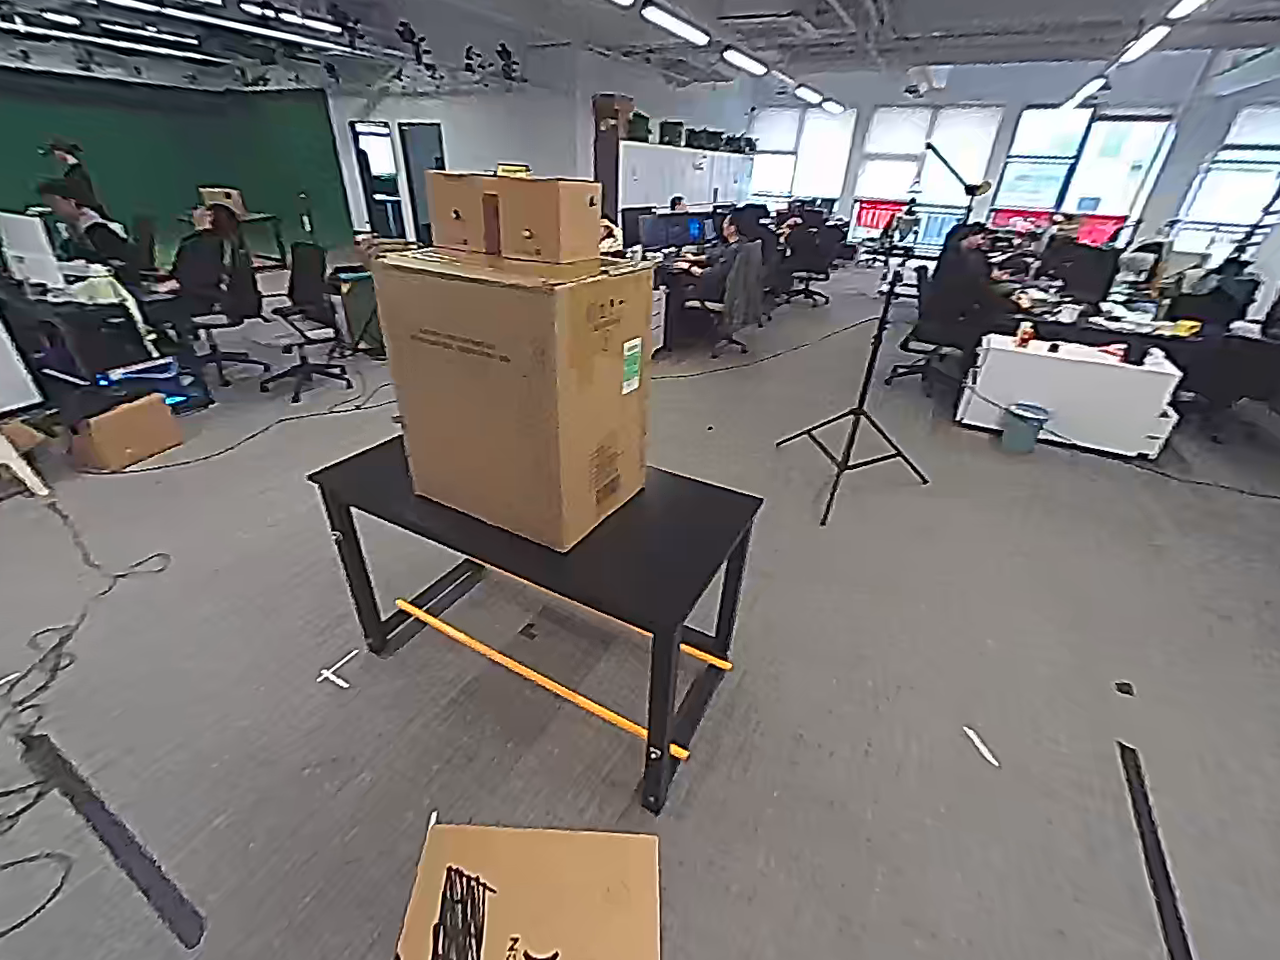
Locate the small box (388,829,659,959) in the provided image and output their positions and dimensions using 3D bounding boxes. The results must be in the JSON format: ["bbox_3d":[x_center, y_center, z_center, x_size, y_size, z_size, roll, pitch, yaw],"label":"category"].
[{"bbox_3d":[-0.079,0.378,0.385,0.179,0.176,0.168,4,35,-2],"label":"small box"}]

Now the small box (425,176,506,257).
[{"bbox_3d":[-0.400,-0.659,1.348,0.168,0.176,0.179,15,32,20],"label":"small box"}]

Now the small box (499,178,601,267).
[{"bbox_3d":[-0.205,-0.596,1.251,0.168,0.176,0.179,15,30,22],"label":"small box"}]
